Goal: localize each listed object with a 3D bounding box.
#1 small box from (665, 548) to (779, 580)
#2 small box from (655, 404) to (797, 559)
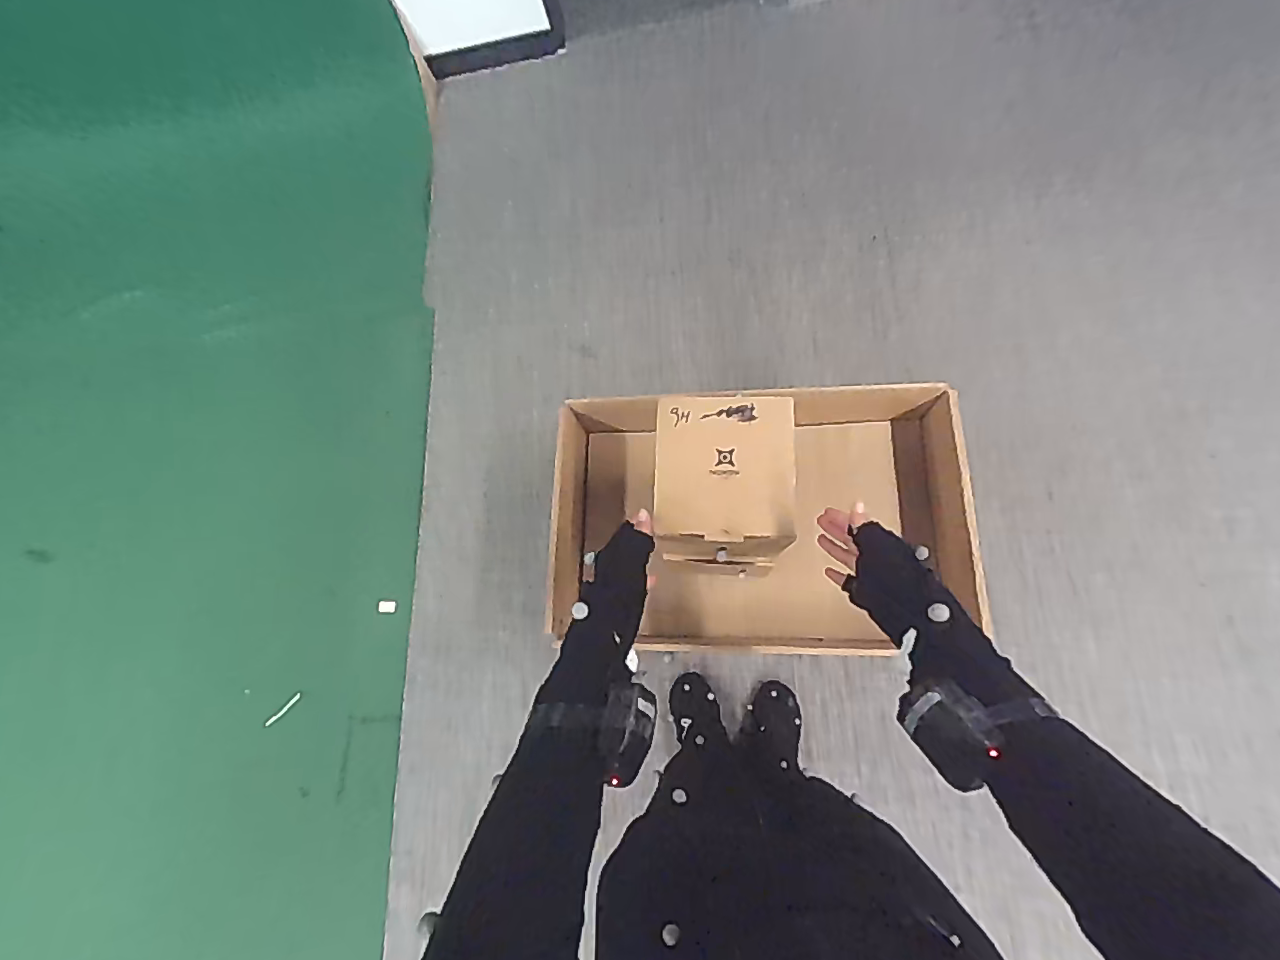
[{"bbox_3d":[0.132,0.064,0.873,0.168,0.176,0.179,1,73,7],"label":"small box"},{"bbox_3d":[0.113,0.010,0.719,0.168,0.176,0.179,1,75,7],"label":"small box"}]
